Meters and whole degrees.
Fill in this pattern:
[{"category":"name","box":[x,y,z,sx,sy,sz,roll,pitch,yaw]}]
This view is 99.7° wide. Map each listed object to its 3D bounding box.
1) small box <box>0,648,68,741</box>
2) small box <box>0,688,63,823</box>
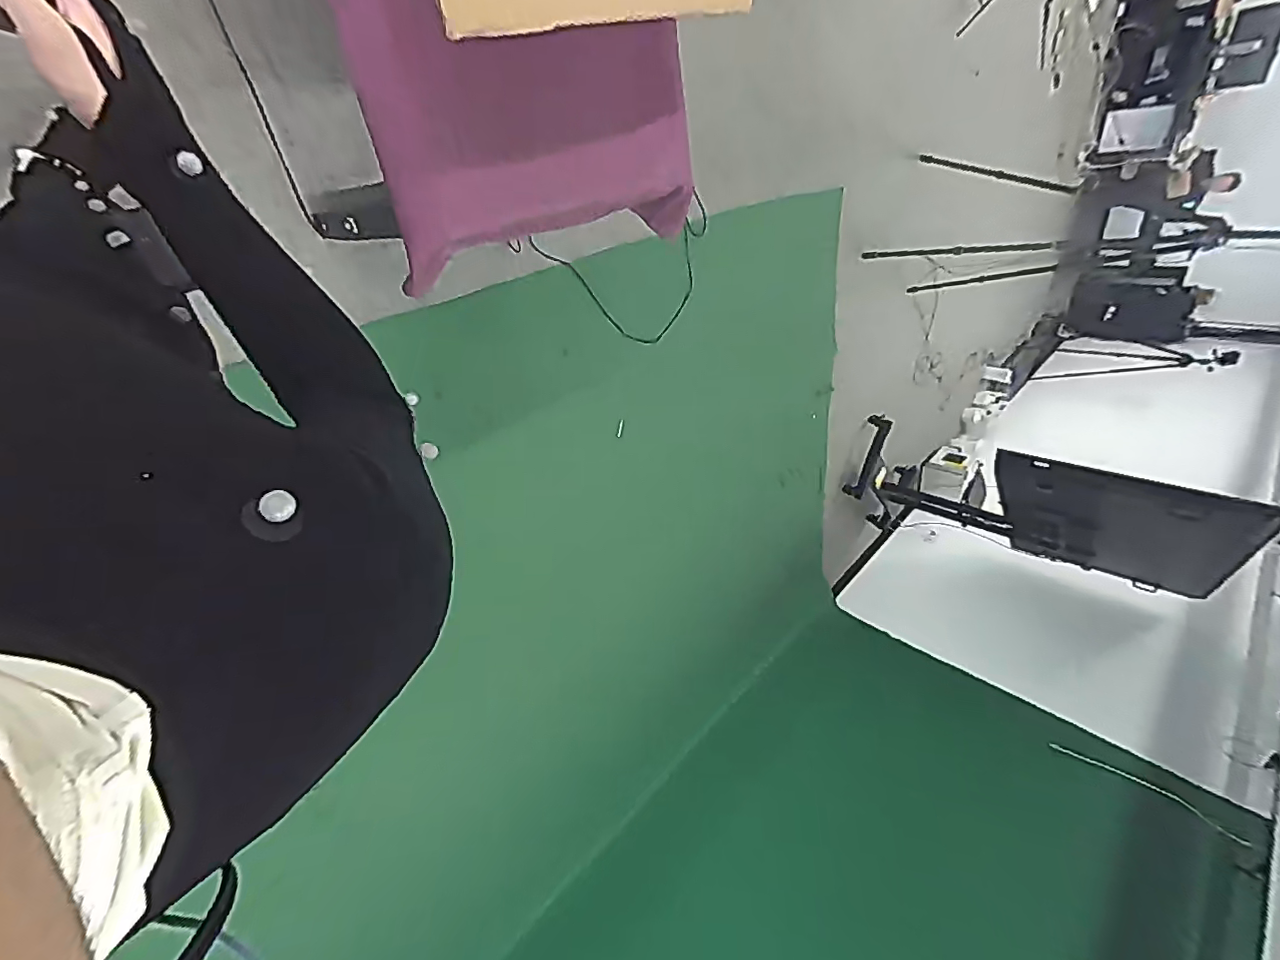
[{"category":"small box","box":[-1.359,0.492,1.139,0.168,0.176,0.179,-29,126,-34]},{"category":"small box","box":[-1.249,0.538,1.026,0.168,0.176,0.179,-27,125,-35]}]
